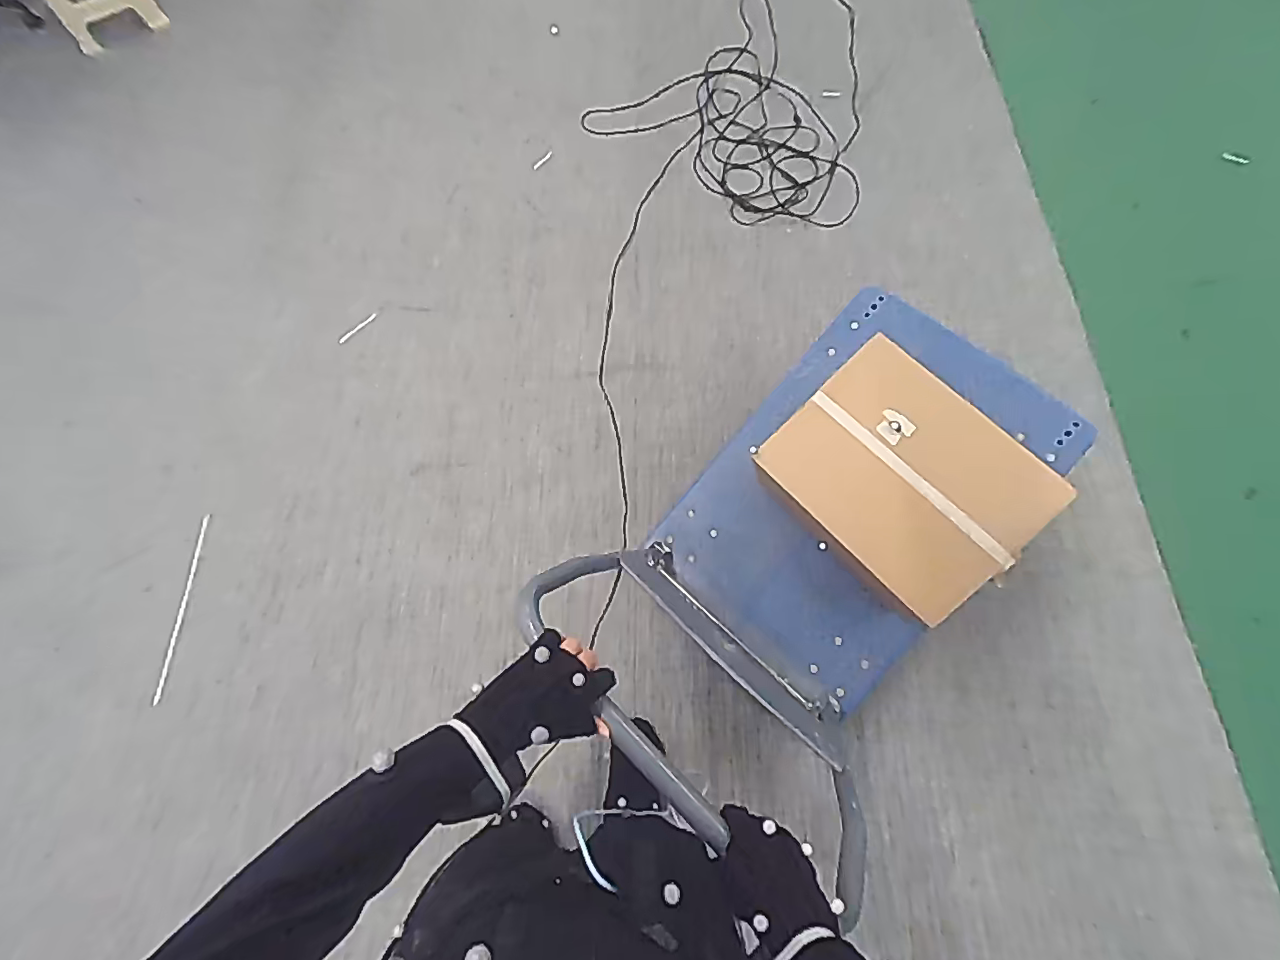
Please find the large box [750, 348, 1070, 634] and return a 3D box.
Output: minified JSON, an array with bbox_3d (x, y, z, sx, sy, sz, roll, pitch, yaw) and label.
[{"bbox_3d":[0.474,0.031,1.047,0.320,0.320,0.408,-44,73,4],"label":"large box"}]
